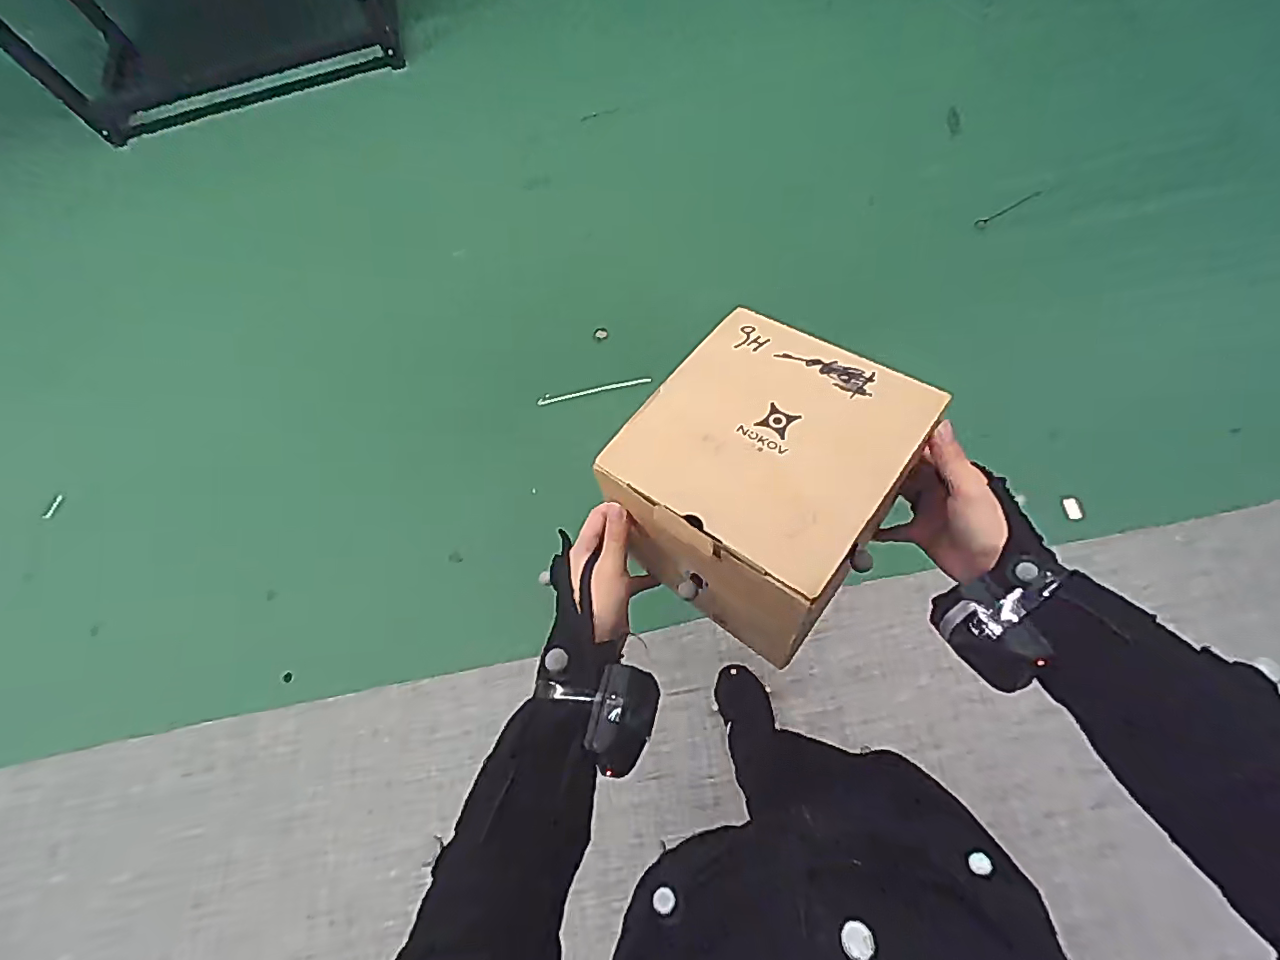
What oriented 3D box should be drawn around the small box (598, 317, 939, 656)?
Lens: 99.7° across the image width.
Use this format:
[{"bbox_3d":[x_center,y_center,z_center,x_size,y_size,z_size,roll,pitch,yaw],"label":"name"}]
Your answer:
[{"bbox_3d":[0.097,0.012,0.431,0.168,0.176,0.179,32,70,25],"label":"small box"}]
